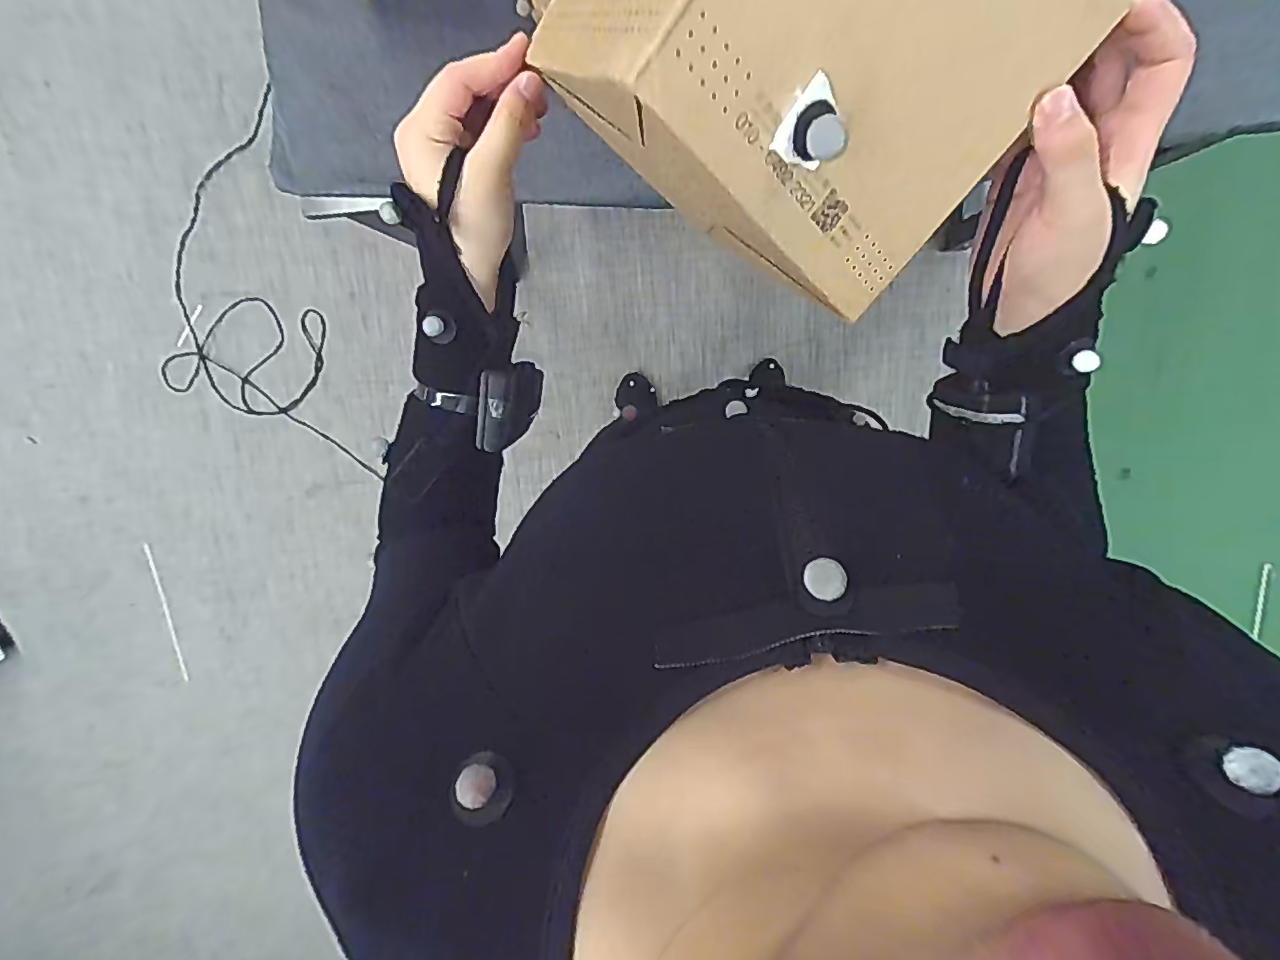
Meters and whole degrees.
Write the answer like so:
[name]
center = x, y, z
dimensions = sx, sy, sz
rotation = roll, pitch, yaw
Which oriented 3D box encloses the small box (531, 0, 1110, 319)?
[small box]
center = 0.067, -0.215, 0.270
dimensions = 0.168, 0.179, 0.176
rotation = 21, 117, -39
